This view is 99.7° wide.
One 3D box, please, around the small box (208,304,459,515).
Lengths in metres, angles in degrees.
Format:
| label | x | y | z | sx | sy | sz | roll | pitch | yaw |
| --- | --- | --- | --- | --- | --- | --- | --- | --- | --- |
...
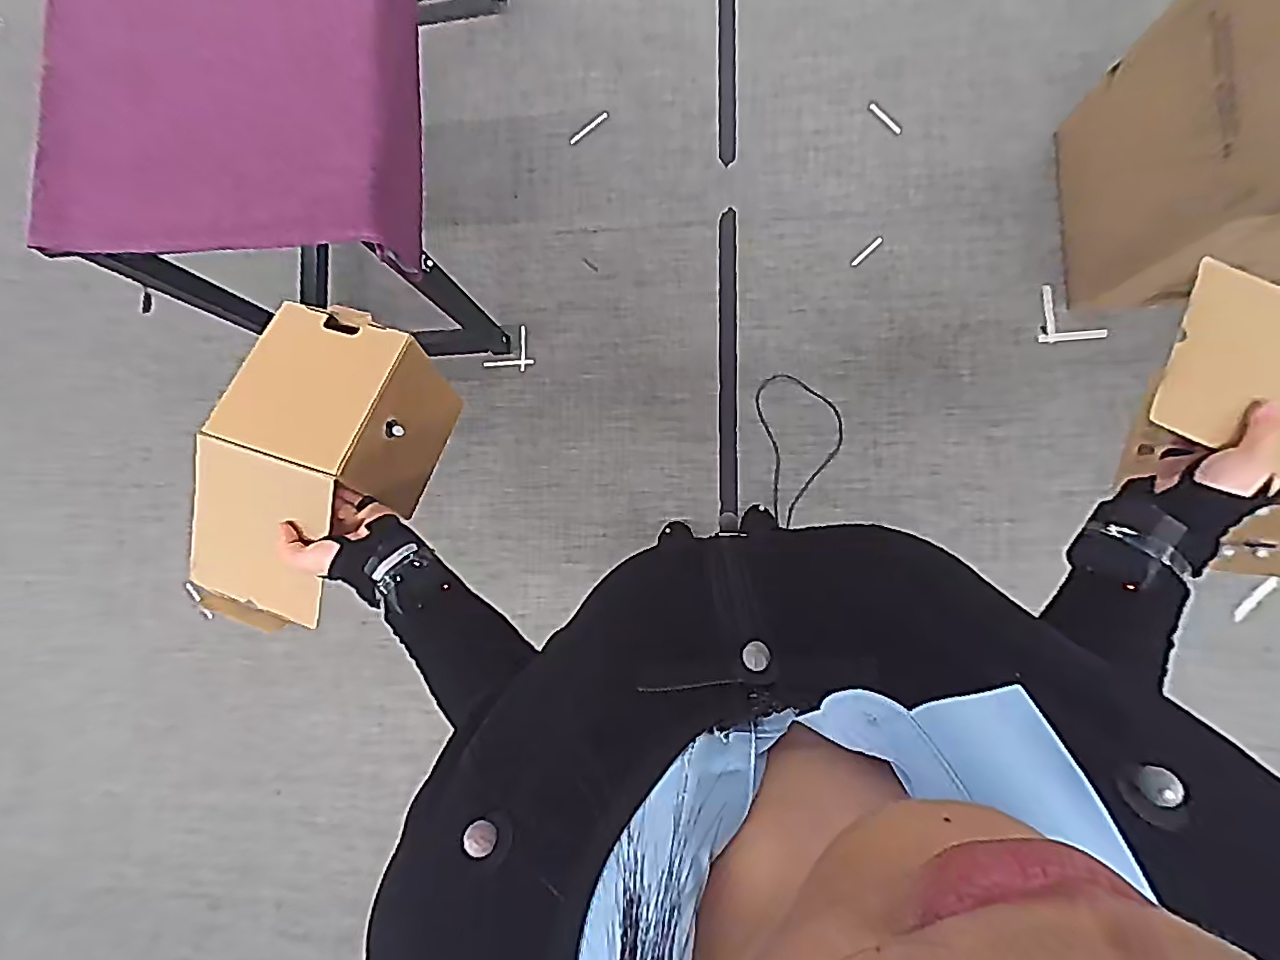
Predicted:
| label | x | y | z | sx | sy | sz | roll | pitch | yaw |
| --- | --- | --- | --- | --- | --- | --- | --- | --- | --- |
| small box | -0.345 | -0.074 | 0.652 | 0.168 | 0.176 | 0.179 | 17 | 71 | 9 |
